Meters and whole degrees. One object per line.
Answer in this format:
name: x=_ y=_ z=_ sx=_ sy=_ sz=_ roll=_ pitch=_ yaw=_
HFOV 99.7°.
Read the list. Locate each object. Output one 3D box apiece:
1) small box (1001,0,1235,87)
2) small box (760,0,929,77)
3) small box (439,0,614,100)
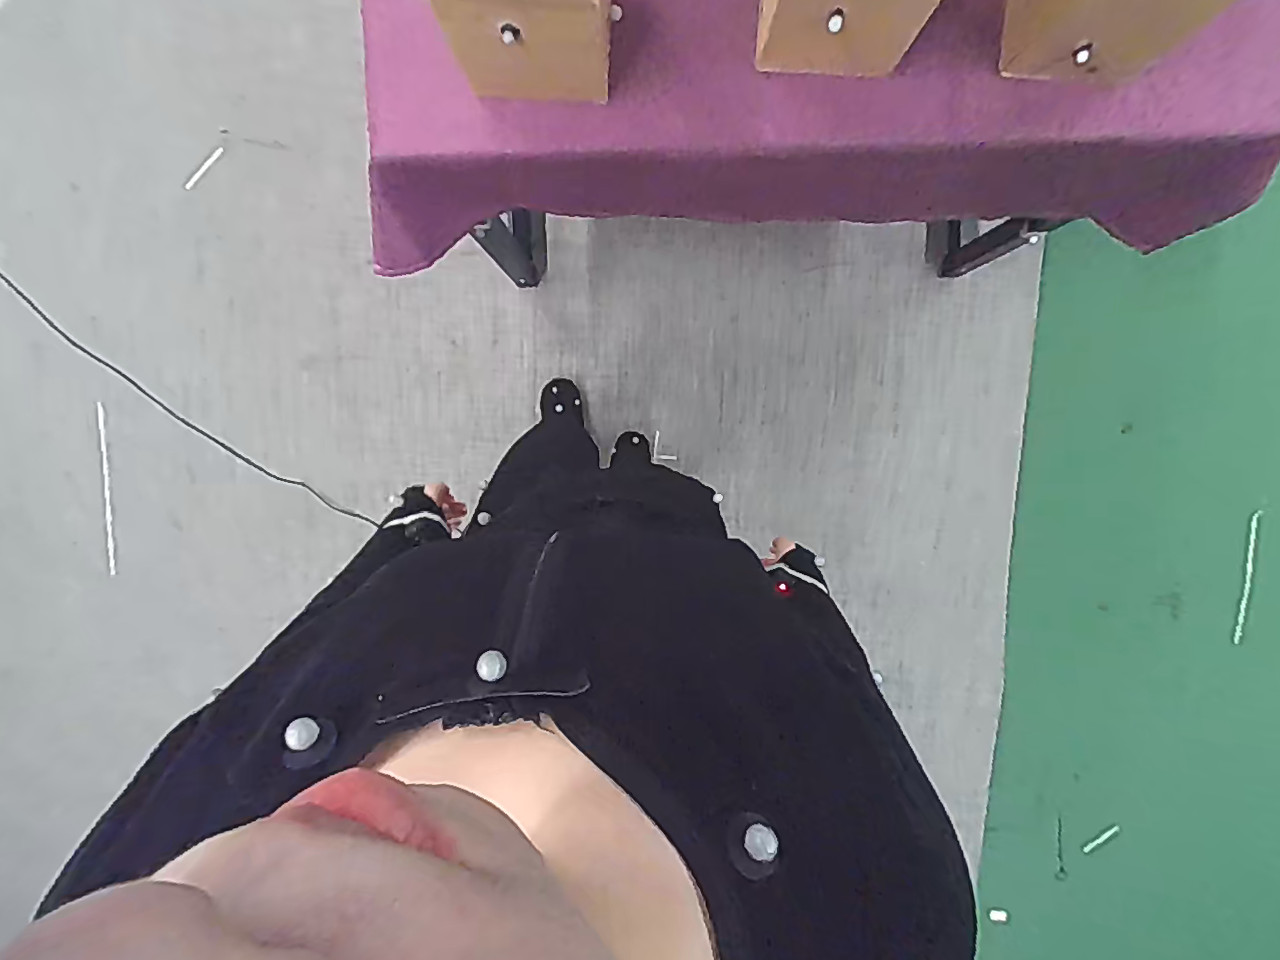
small box: x=0.552 y=-0.601 z=0.620 sx=0.168 sy=0.176 sz=0.179 roll=5 pitch=96 yaw=0
small box: x=0.241 y=-0.603 z=0.620 sx=0.179 sy=0.176 sz=0.168 roll=4 pitch=95 yaw=1
small box: x=-0.124 y=-0.575 z=0.624 sx=0.179 sy=0.176 sz=0.168 roll=3 pitch=95 yaw=-1
